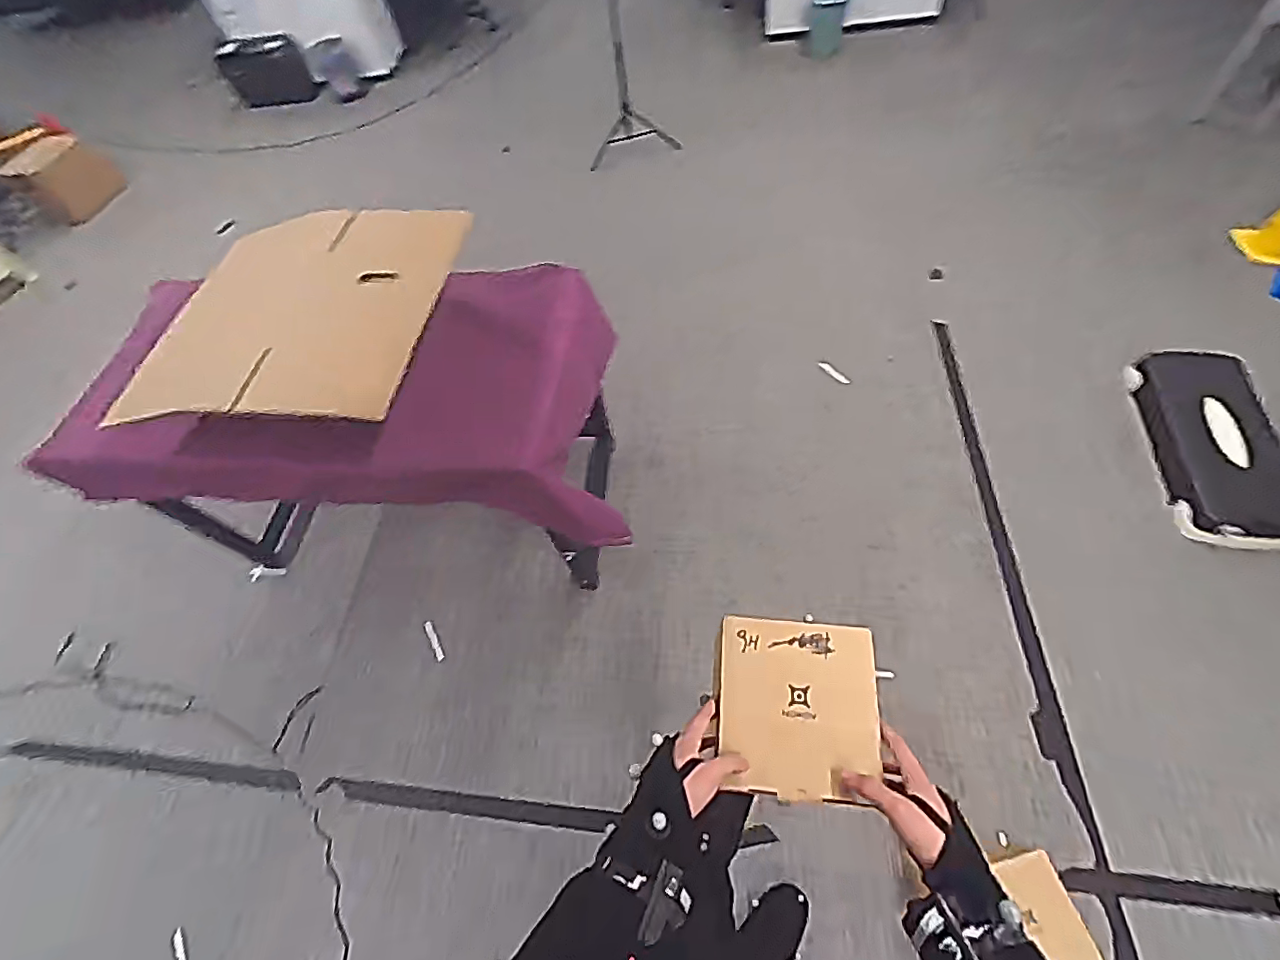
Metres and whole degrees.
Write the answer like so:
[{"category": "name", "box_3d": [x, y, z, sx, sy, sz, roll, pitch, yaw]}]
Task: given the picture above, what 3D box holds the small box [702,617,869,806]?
[{"category": "small box", "box_3d": [0.163, 0.272, 0.651, 0.168, 0.176, 0.179, 3, 66, 6]}]
